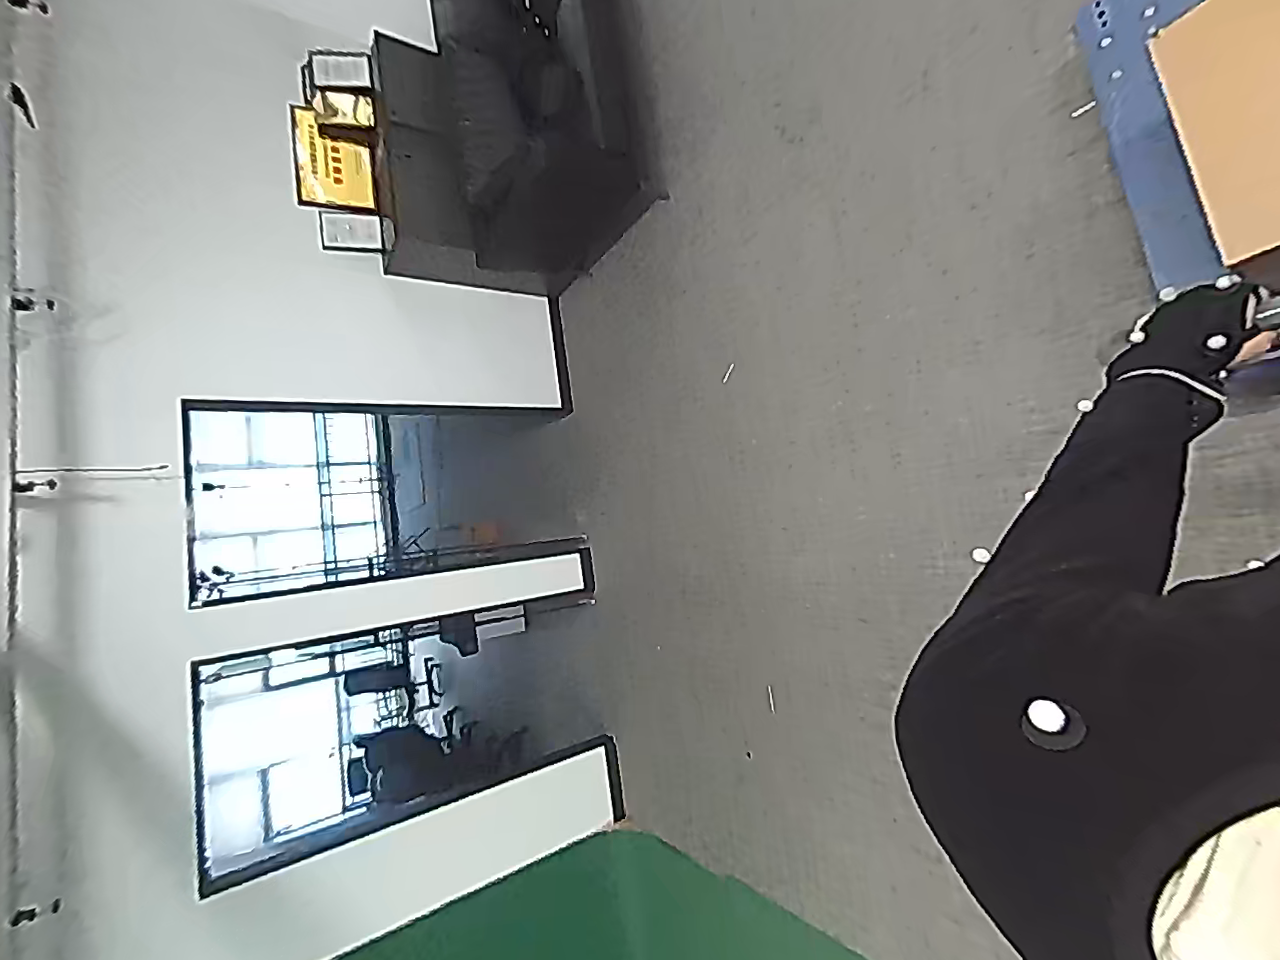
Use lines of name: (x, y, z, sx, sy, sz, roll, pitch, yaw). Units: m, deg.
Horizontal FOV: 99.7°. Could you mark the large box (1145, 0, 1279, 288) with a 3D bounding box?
large box: (1.072, -0.564, 0.816, 0.320, 0.320, 0.408, -22, 74, 55)
